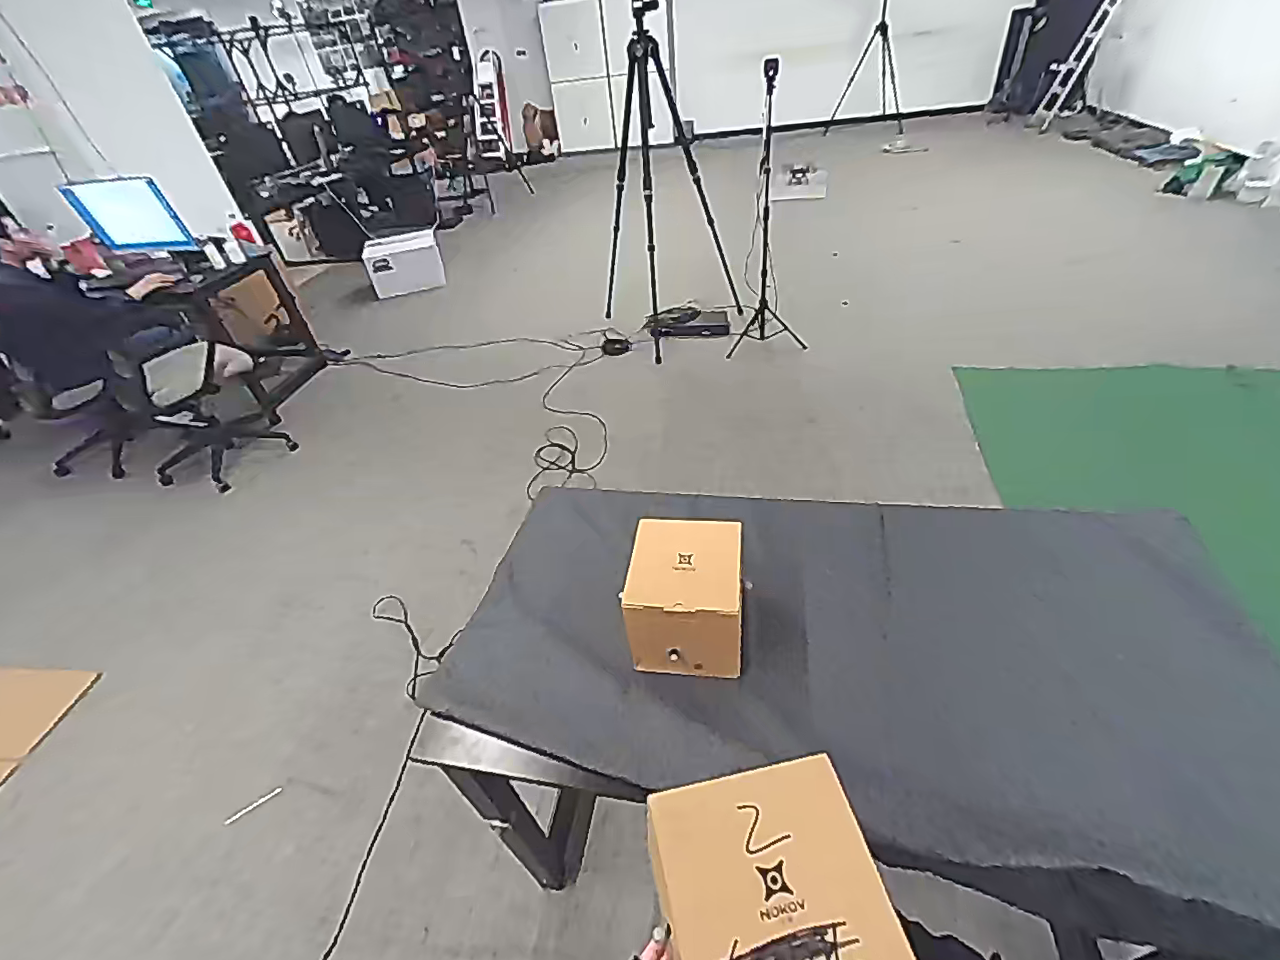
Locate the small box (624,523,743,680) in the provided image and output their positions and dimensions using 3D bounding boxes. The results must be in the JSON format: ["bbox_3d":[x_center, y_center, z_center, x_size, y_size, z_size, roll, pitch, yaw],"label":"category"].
[{"bbox_3d":[0.076,0.191,0.865,0.168,0.176,0.179,2,41,11],"label":"small box"}]
